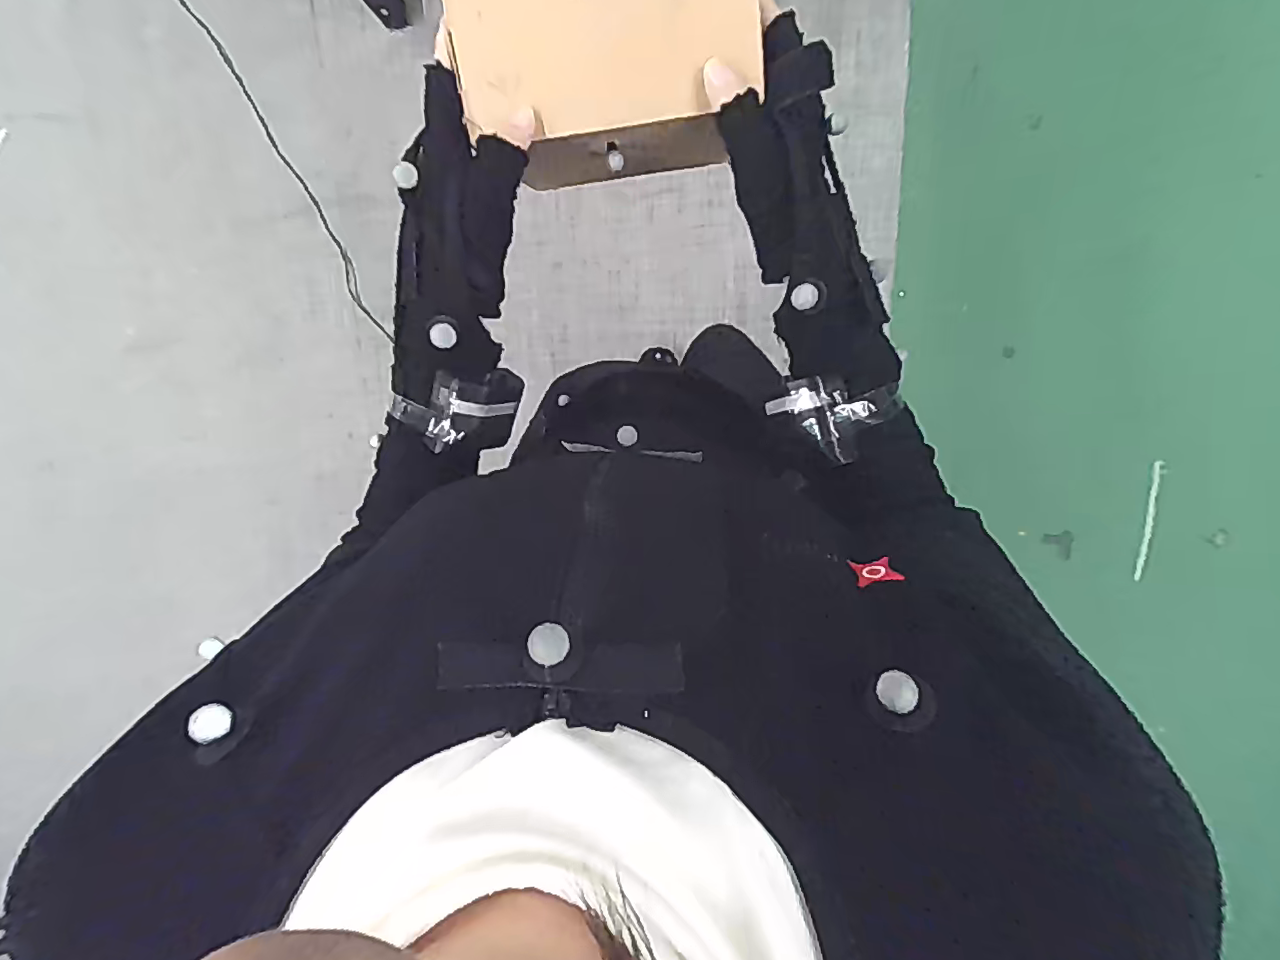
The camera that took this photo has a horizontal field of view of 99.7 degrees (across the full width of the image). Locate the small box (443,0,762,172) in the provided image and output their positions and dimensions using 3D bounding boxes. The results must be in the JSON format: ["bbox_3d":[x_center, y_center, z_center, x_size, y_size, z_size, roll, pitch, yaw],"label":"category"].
[{"bbox_3d":[-0.023,-0.319,0.360,0.179,0.176,0.168,-7,112,4],"label":"small box"}]
